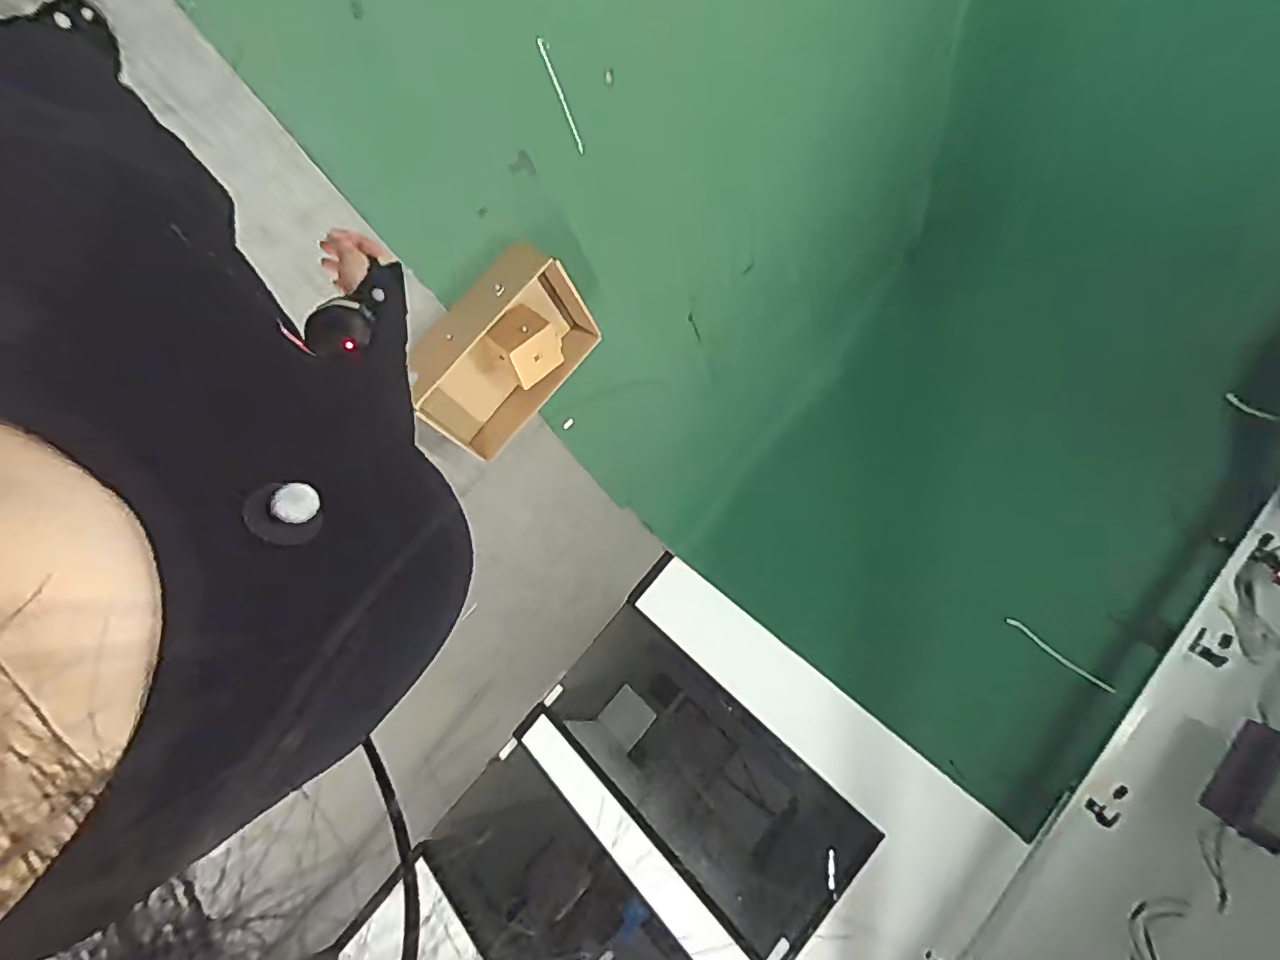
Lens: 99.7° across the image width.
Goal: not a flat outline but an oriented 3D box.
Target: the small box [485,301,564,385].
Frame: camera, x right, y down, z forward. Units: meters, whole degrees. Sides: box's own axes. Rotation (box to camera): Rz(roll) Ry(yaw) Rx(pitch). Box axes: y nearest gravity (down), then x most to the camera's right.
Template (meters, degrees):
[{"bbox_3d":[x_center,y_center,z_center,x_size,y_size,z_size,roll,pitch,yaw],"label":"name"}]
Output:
[{"bbox_3d":[-0.383,-0.451,1.768,0.179,0.176,0.168,-43,151,-17],"label":"small box"}]
